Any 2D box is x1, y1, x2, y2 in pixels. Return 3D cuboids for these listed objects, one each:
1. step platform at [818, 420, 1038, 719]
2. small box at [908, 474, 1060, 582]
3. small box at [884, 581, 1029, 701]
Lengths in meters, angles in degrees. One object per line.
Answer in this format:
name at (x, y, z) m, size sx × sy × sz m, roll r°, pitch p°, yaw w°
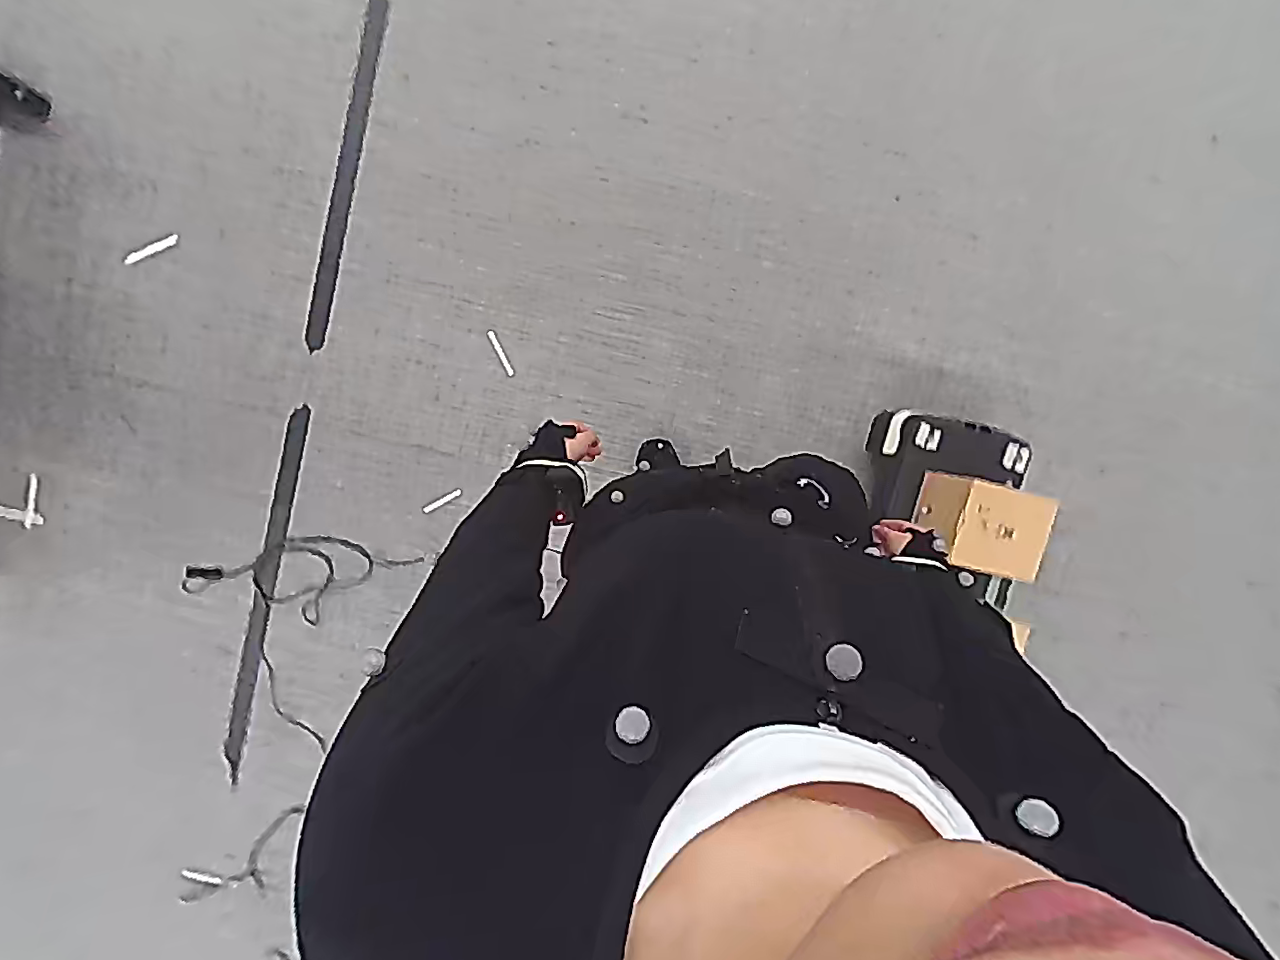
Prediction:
step platform at (0.672, 0.207, 1.288) m, size 0.286 × 0.204 × 0.684 m, roll 14°, pitch 95°, yaw -2°
small box at (0.688, 0.089, 1.102) m, size 0.179 × 0.176 × 0.168 m, roll 15°, pitch 95°, yaw -2°
small box at (0.646, 0.325, 1.125) m, size 0.179 × 0.176 × 0.168 m, roll 16°, pitch 95°, yaw -1°
